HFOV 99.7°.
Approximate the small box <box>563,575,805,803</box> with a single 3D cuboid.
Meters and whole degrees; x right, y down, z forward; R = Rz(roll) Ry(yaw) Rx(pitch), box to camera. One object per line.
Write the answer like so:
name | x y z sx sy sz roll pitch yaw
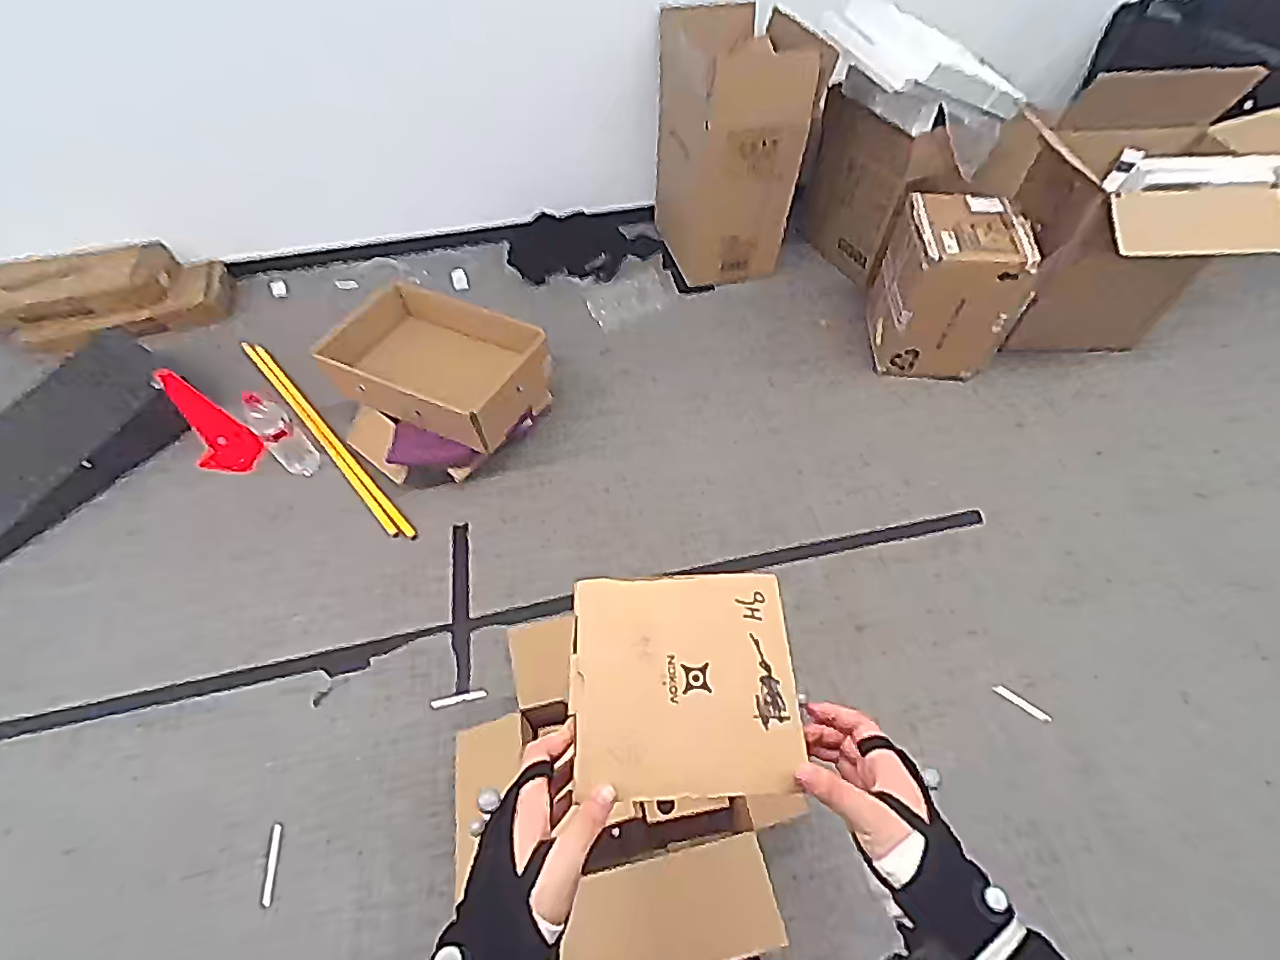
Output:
small box | 0.029 0.192 0.490 0.179 0.176 0.168 -2 63 -2
